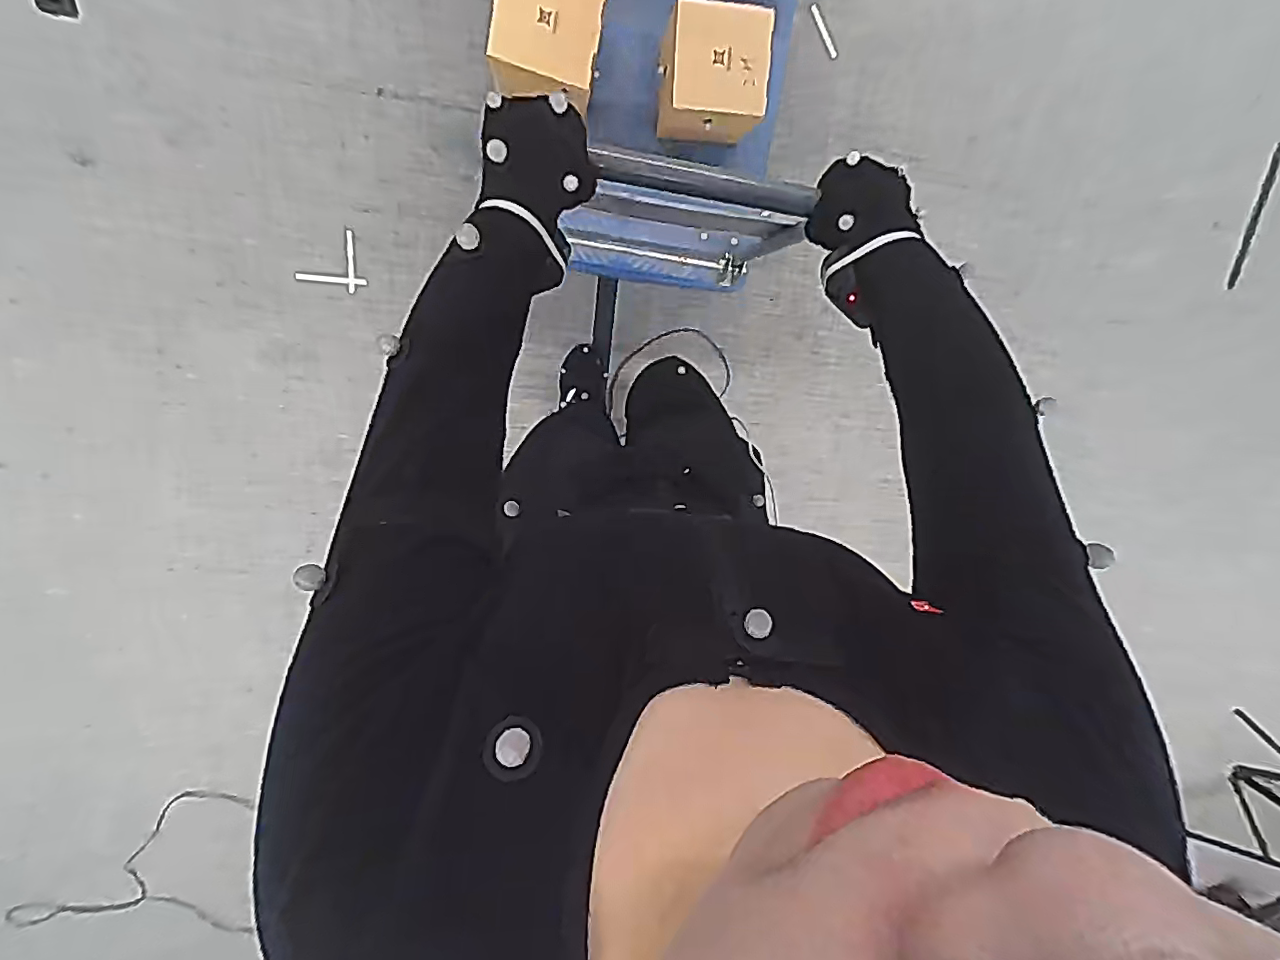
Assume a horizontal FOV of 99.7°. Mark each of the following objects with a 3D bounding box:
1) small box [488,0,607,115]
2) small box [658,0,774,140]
[{"bbox_3d":[-0.165,-0.797,0.977,0.179,0.176,0.168,11,105,-14],"label":"small box"},{"bbox_3d":[0.134,-0.770,1.030,0.179,0.176,0.168,0,107,-9],"label":"small box"}]
